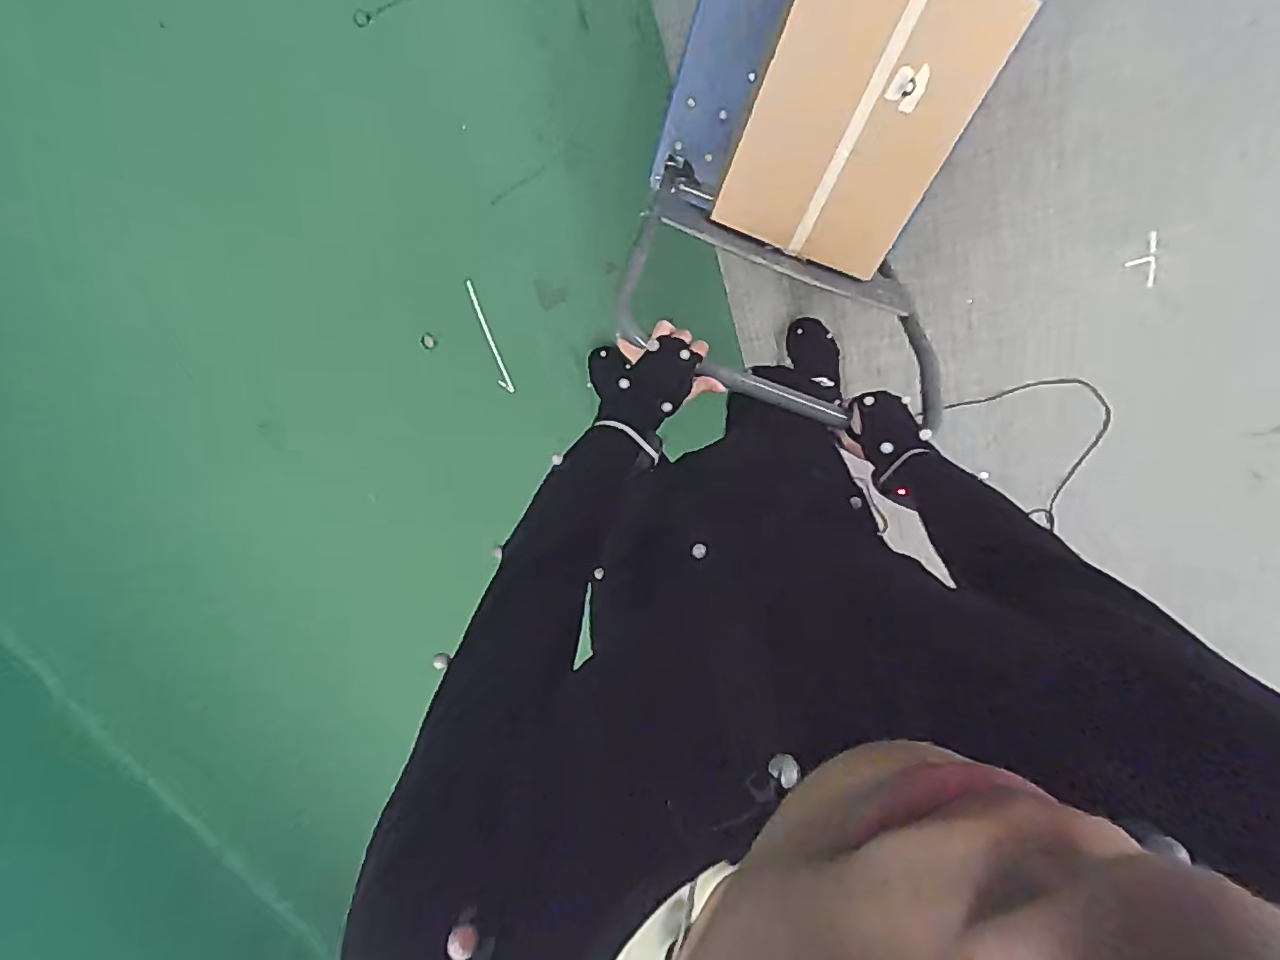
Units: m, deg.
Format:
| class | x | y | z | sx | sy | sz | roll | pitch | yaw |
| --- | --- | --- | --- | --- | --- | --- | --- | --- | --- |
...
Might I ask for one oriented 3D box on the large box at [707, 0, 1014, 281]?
| class | x | y | z | sx | sy | sz | roll | pitch | yaw |
| --- | --- | --- | --- | --- | --- | --- | --- | --- | --- |
| large box | 0.343 | -0.646 | 0.976 | 0.320 | 0.320 | 0.408 | 20 | 129 | -6 |
